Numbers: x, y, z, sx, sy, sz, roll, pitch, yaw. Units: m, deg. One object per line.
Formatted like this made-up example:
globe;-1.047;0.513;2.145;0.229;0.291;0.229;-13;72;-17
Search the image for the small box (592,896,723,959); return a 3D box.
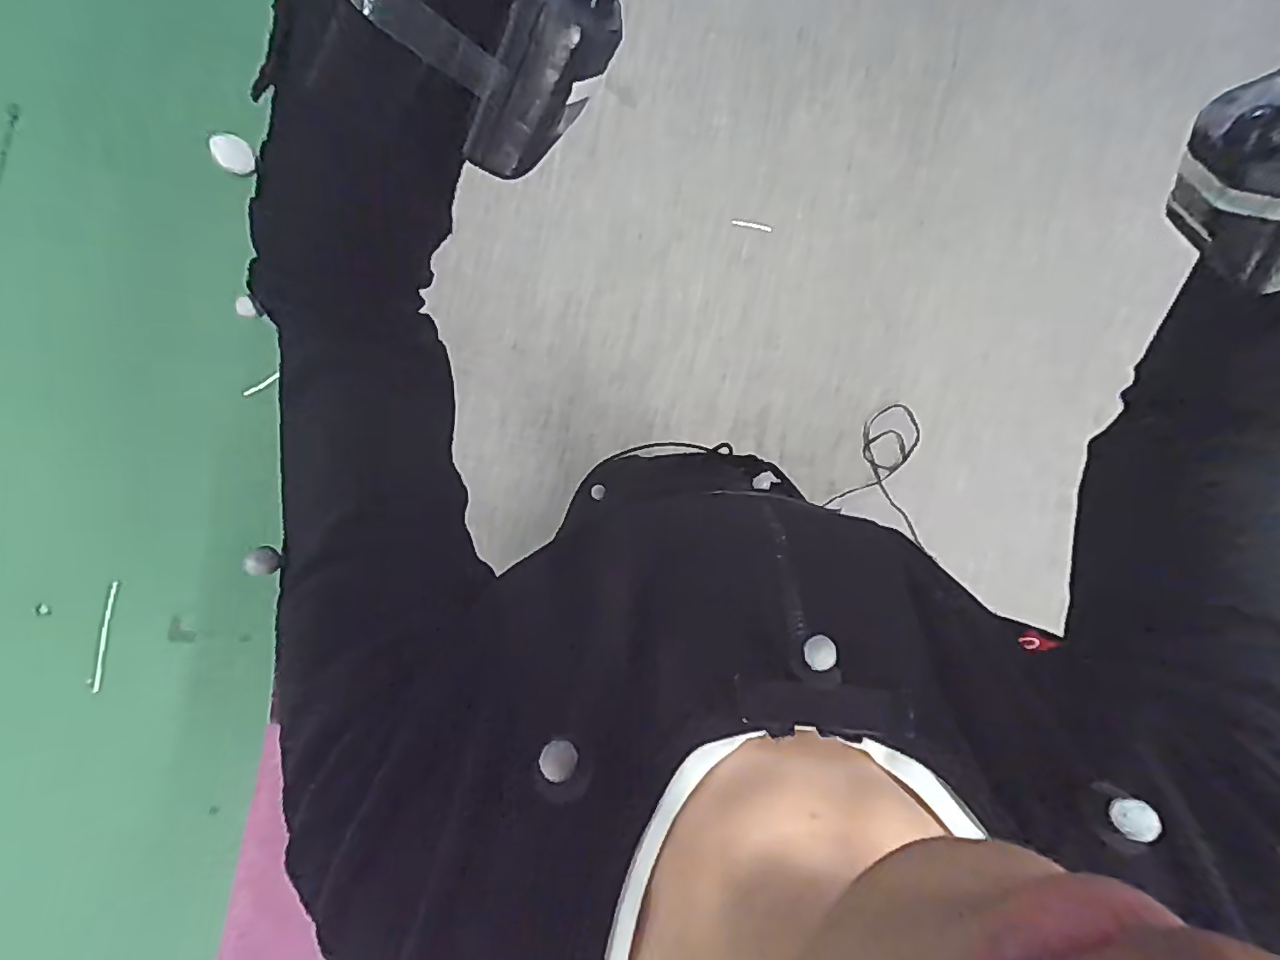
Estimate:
small box;0.016;0.698;0.694;0.168;0.176;0.179;16;91;-1
